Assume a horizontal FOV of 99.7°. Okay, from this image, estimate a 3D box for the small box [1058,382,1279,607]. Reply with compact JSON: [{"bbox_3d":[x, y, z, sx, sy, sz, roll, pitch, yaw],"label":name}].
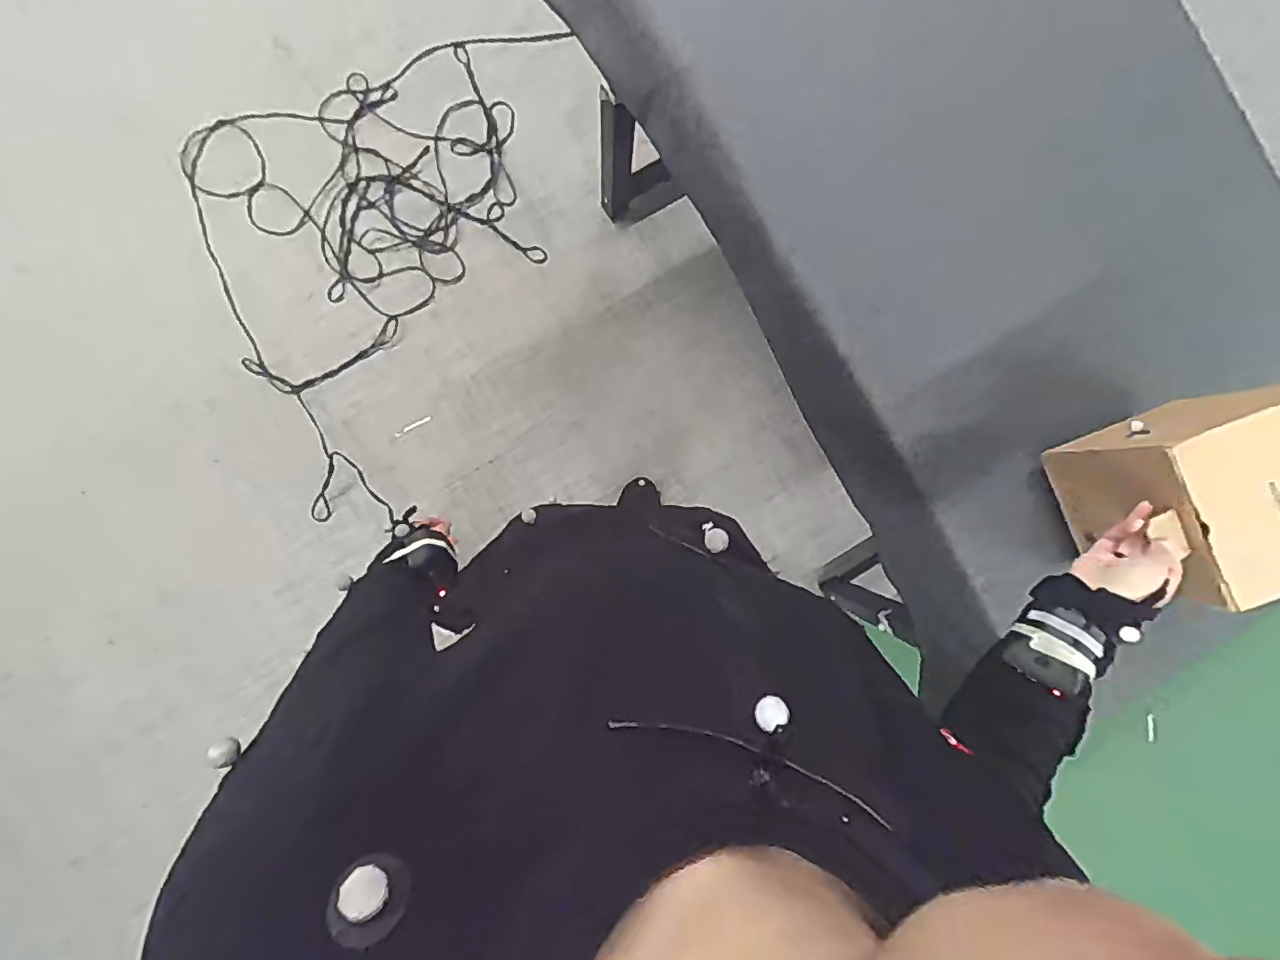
[{"bbox_3d":[0.586,0.009,0.561,0.179,0.176,0.168,-22,91,1],"label":"small box"}]
